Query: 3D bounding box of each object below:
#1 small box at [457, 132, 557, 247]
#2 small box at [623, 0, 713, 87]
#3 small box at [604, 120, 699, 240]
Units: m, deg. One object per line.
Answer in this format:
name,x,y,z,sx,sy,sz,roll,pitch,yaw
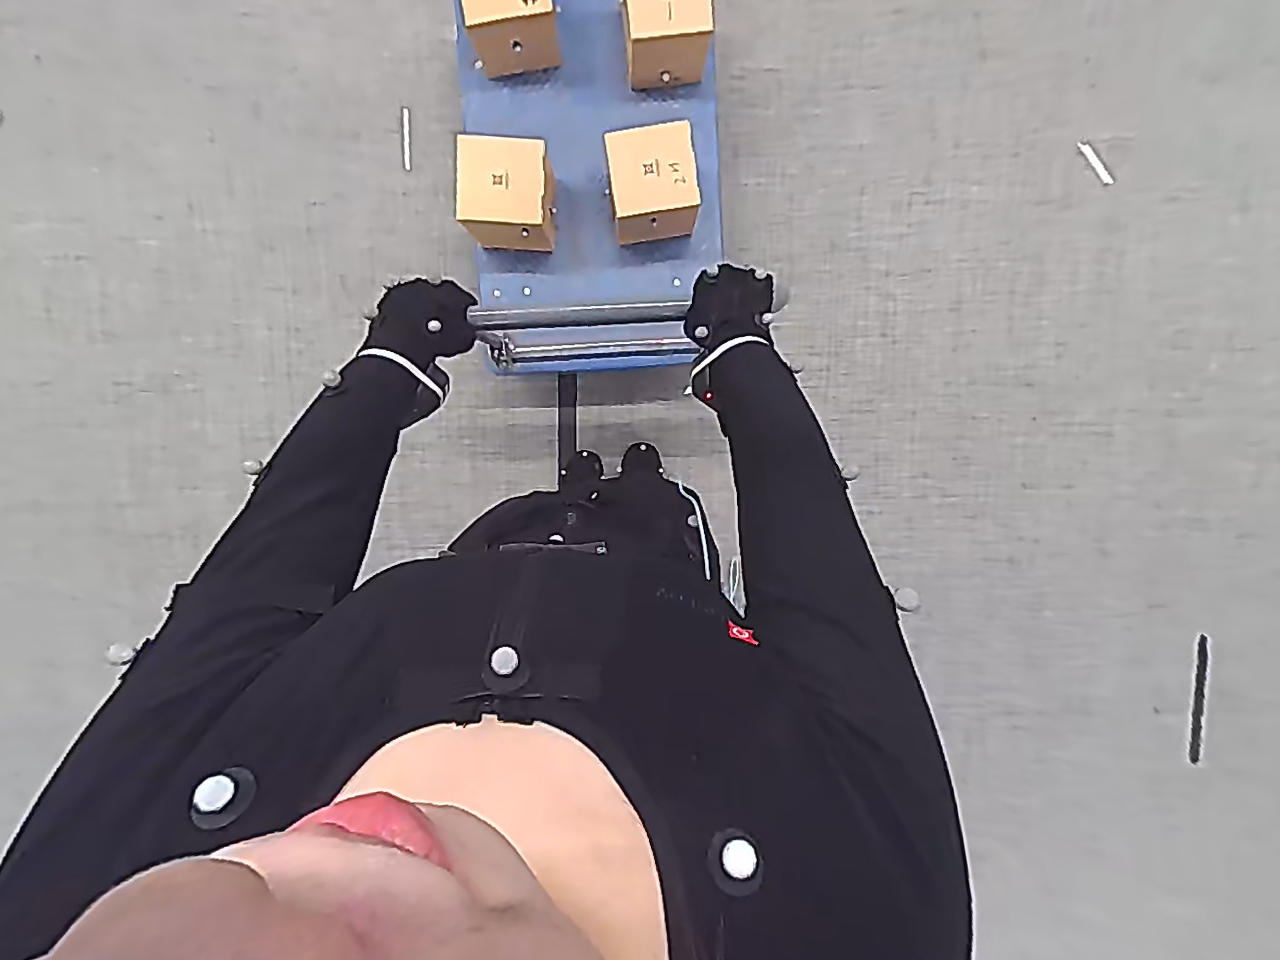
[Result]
small box,-0.281,-0.616,1.166,0.179,0.176,0.168,3,96,-2
small box,0.053,-0.972,1.133,0.168,0.176,0.179,-6,97,0
small box,0.025,-0.636,1.167,0.179,0.176,0.168,-8,96,1
